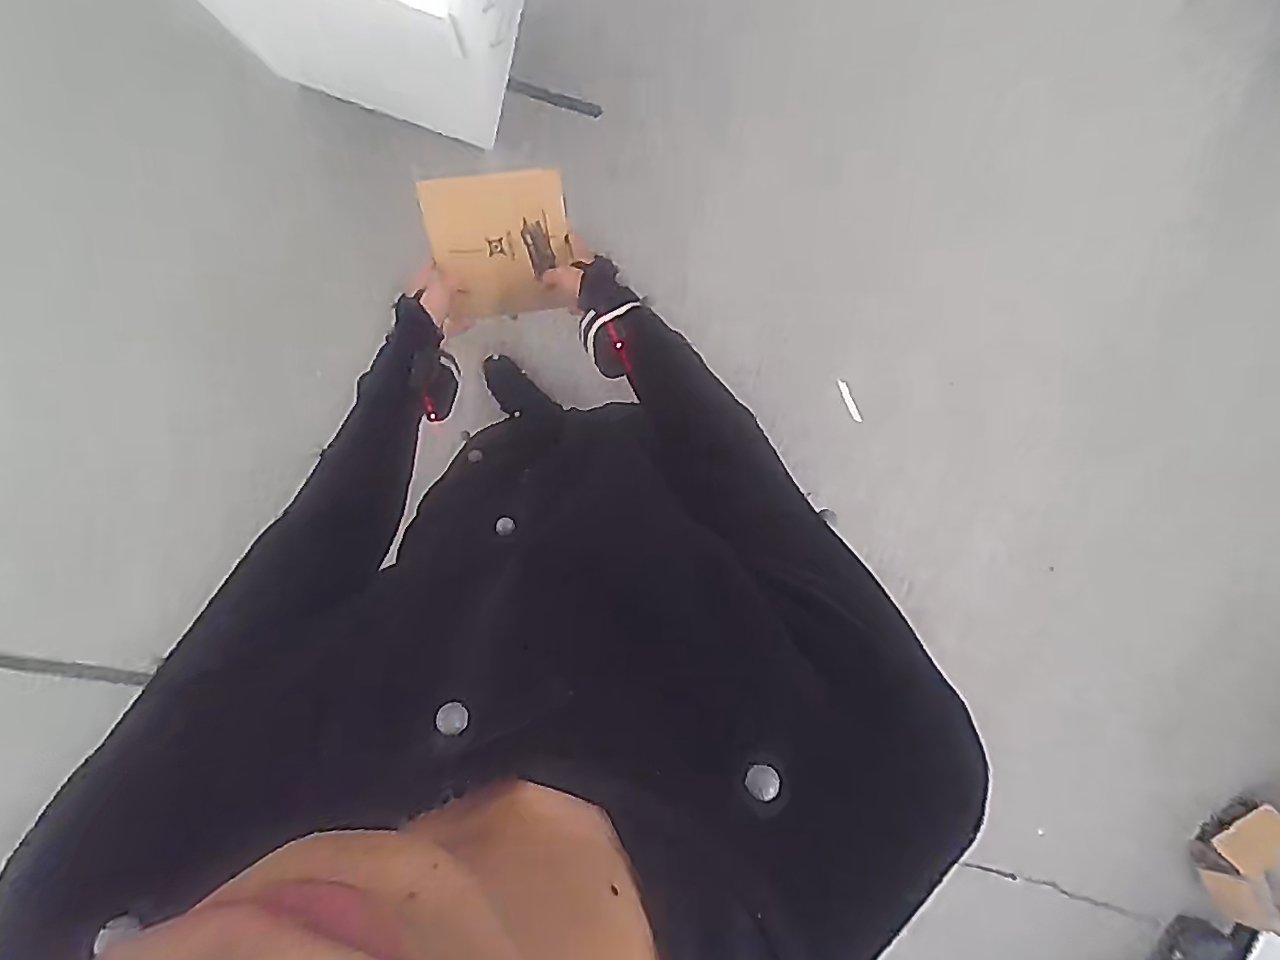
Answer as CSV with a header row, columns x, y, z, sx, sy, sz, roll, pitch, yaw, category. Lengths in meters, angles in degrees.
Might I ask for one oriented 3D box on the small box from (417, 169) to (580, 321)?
x,y,z,sx,sy,sz,roll,pitch,yaw,category
-0.187,-0.325,0.753,0.179,0.176,0.168,-9,114,-5,small box
